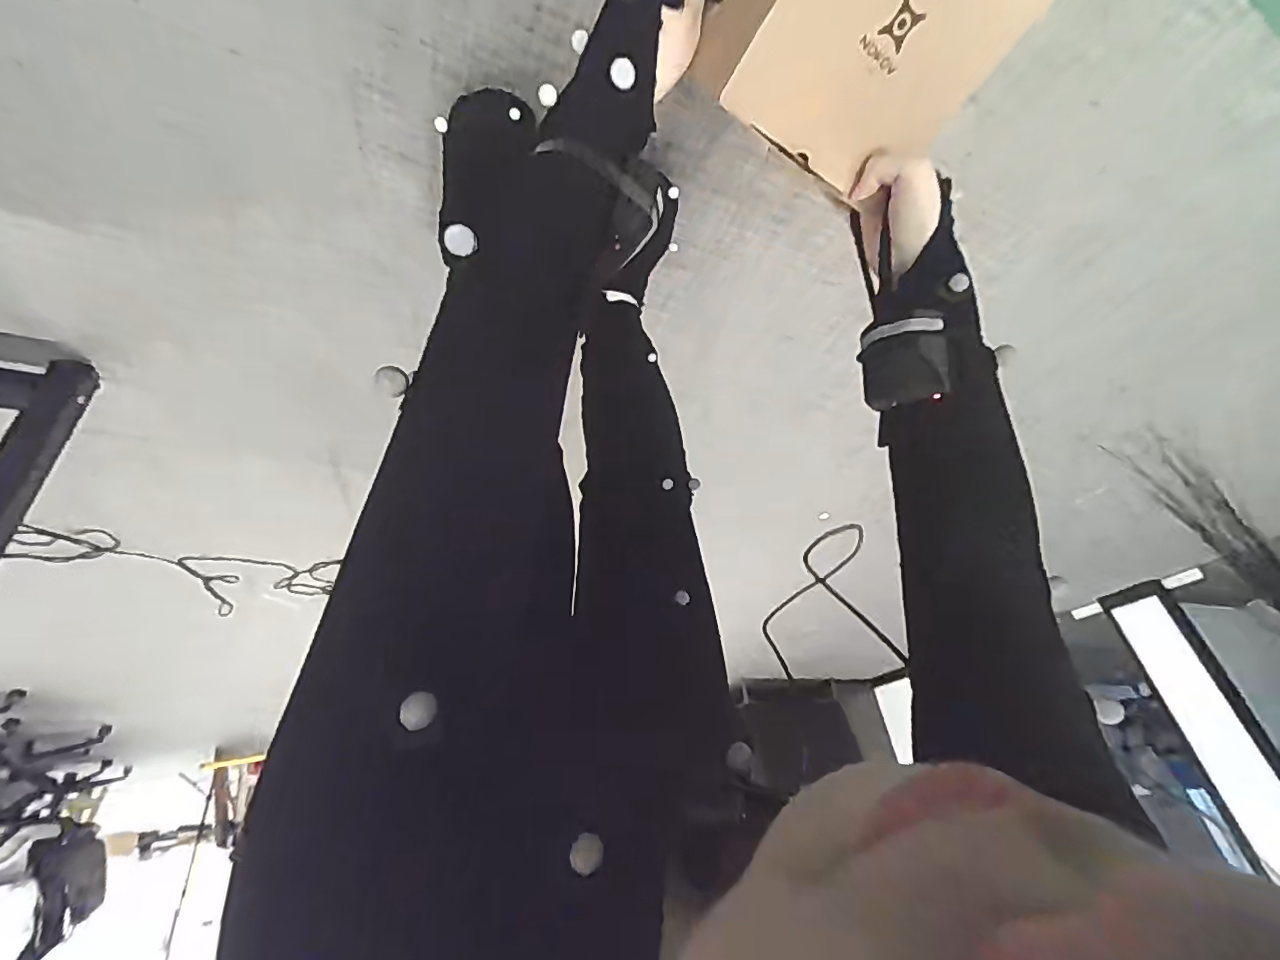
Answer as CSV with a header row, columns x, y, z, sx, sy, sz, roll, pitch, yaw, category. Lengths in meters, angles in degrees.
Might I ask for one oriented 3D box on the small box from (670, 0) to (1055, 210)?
x,y,z,sx,sy,sz,roll,pitch,yaw,category
0.138,-0.336,0.372,0.168,0.176,0.179,11,135,-32,small box
